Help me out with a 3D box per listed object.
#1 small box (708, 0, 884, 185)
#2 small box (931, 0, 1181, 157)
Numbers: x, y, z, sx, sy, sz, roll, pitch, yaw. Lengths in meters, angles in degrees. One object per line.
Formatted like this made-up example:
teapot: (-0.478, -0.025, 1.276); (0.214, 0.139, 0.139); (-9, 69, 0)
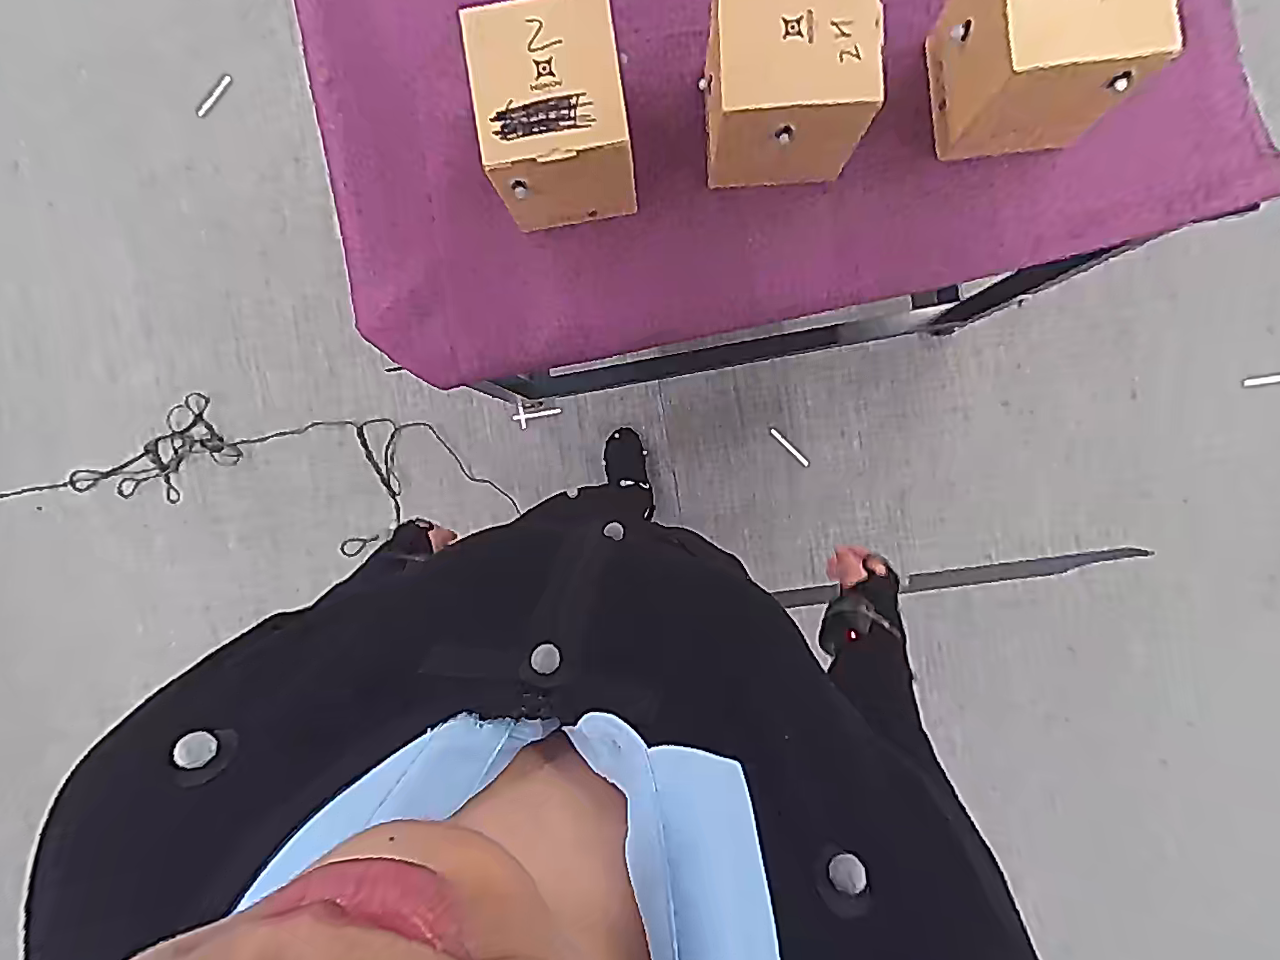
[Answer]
small box: (0.175, -0.482, 0.656); (0.179, 0.176, 0.168); (-2, 92, 2)
small box: (0.472, -0.517, 0.646); (0.179, 0.176, 0.168); (-6, 90, 2)
